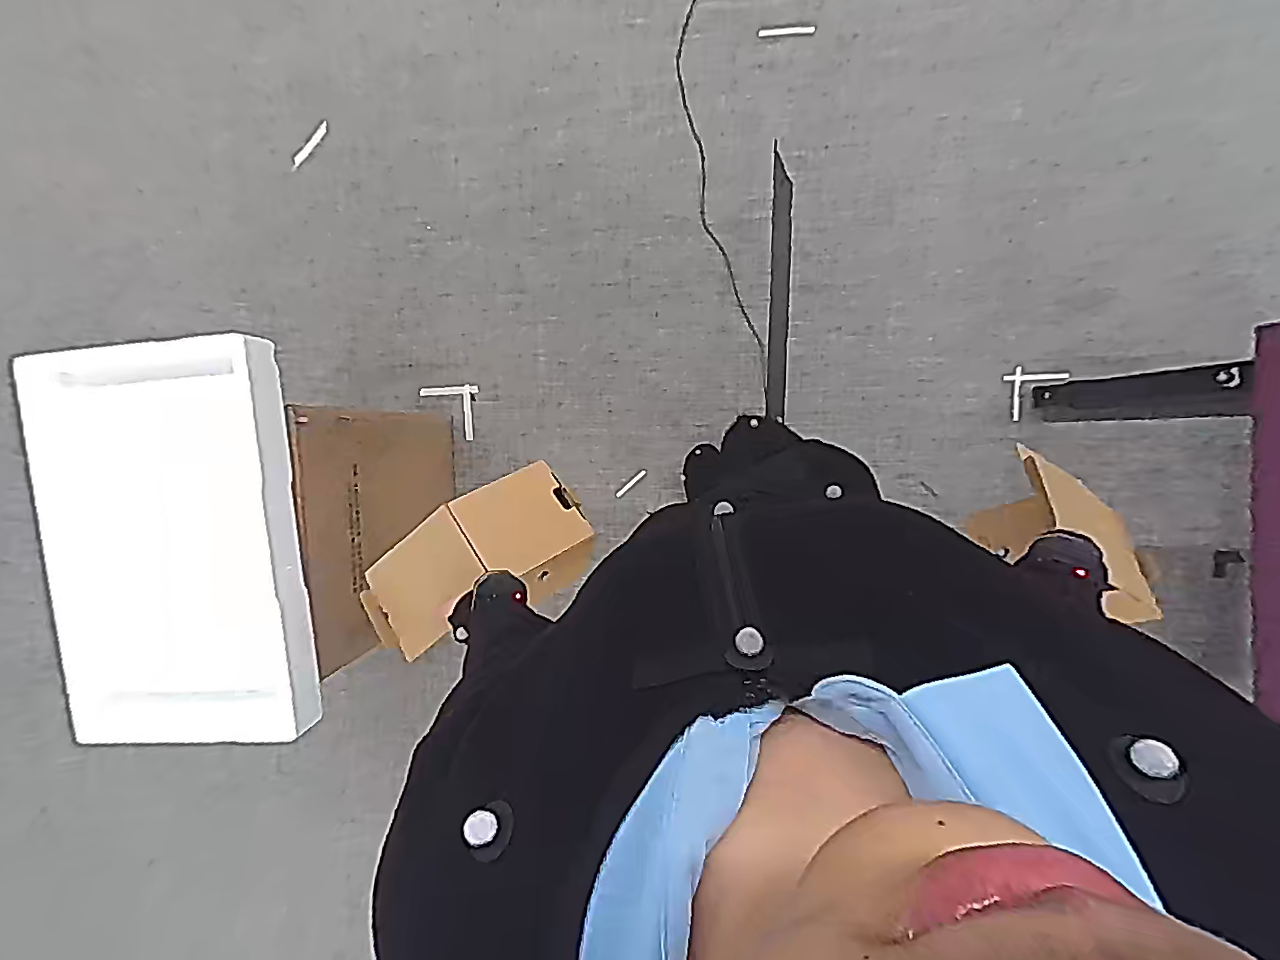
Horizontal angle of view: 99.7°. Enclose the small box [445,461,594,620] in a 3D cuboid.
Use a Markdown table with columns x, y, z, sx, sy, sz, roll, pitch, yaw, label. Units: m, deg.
| x | y | z | sx | sy | sz | roll | pitch | yaw | label |
| --- | --- | --- | --- | --- | --- | --- | --- | --- | --- |
| -0.198 | 0.105 | 0.896 | 0.179 | 0.176 | 0.168 | -27 | 69 | -27 | small box |
